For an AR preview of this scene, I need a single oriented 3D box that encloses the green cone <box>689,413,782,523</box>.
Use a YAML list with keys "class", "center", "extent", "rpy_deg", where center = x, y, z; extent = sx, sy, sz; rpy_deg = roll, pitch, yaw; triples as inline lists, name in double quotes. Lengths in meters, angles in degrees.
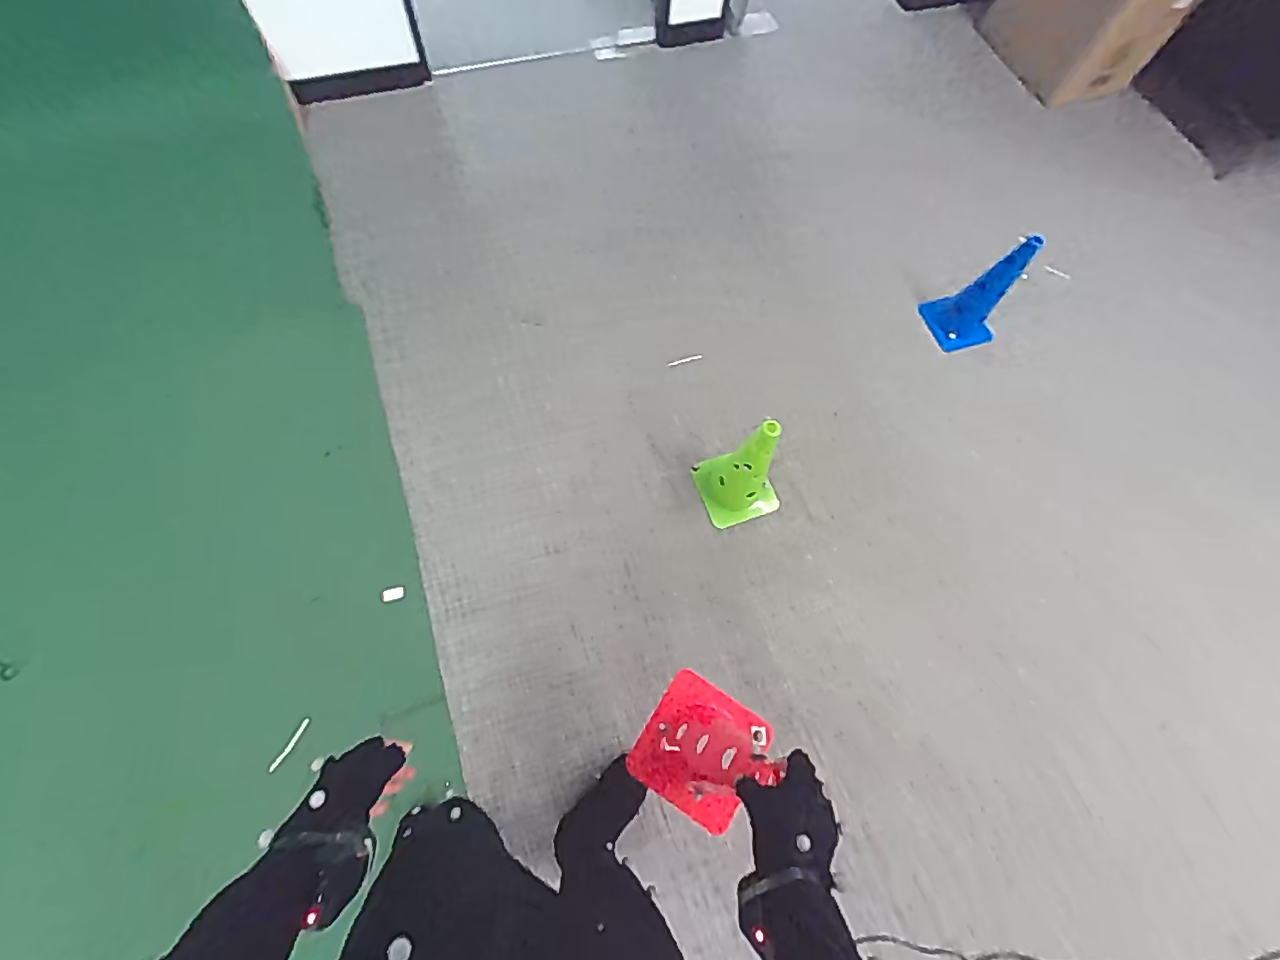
- class: "green cone"
  center: [0.269, -0.056, 1.333]
  extent: [0.202, 0.368, 0.200]
  rpy_deg: [-19, 71, -12]
